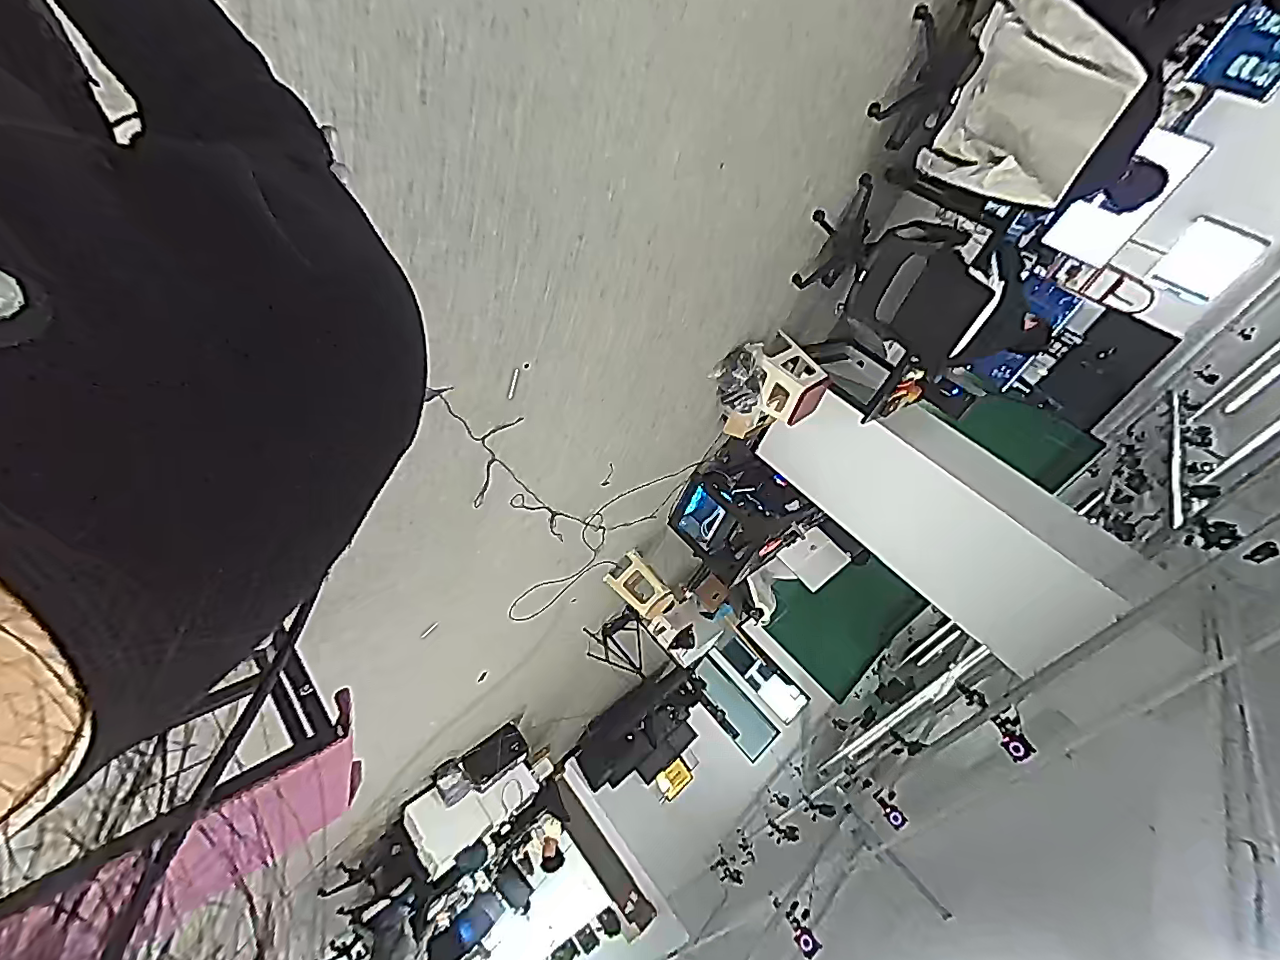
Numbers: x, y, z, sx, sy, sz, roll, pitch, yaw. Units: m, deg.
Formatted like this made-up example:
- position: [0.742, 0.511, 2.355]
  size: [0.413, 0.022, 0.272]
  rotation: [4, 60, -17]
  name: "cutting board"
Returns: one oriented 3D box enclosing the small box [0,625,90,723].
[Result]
- position: [-1.679, 0.527, 1.502]
  size: [0.168, 0.176, 0.179]
  rotation: [-18, 145, -45]
  name: "small box"
